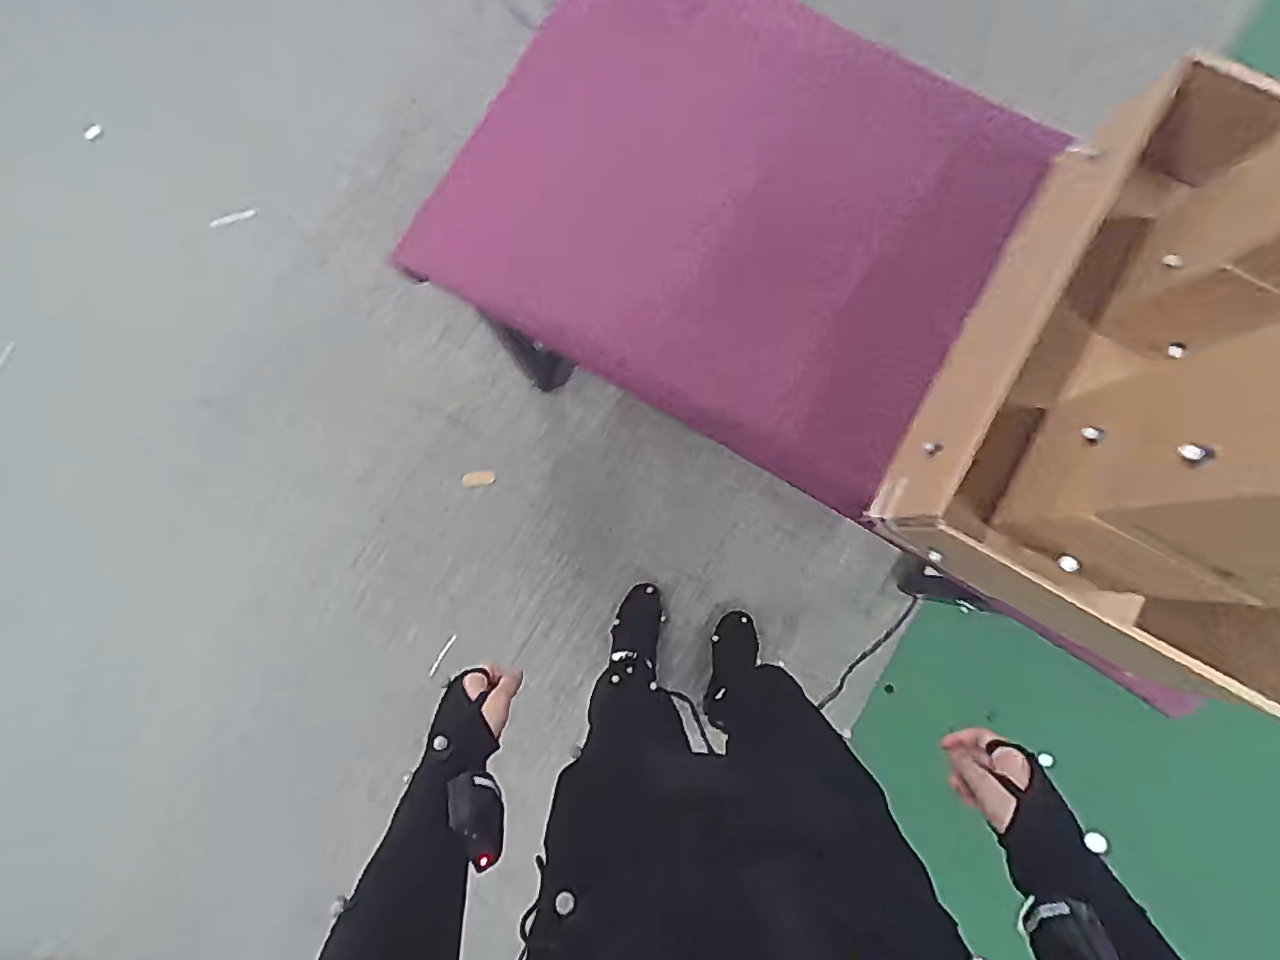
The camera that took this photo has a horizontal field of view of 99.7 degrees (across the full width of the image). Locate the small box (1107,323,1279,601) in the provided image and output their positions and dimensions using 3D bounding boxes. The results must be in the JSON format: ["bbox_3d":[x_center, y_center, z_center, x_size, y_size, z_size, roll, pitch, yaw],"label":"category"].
[{"bbox_3d":[0.534,-0.011,0.428,0.168,0.176,0.179,32,84,6],"label":"small box"}]

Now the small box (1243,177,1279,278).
[{"bbox_3d":[0.689,-0.252,0.451,0.168,0.176,0.179,33,86,5],"label":"small box"}]
